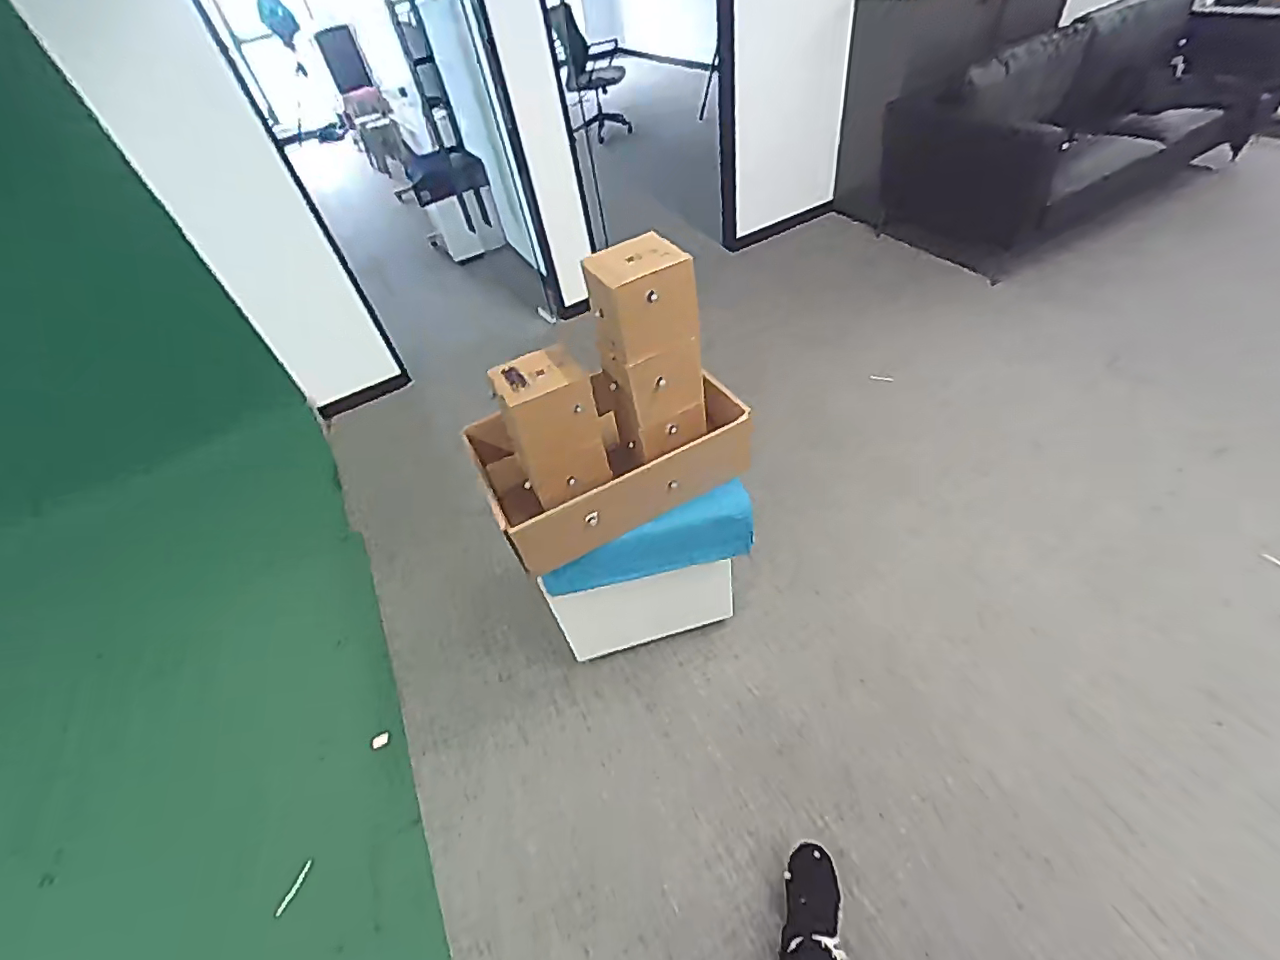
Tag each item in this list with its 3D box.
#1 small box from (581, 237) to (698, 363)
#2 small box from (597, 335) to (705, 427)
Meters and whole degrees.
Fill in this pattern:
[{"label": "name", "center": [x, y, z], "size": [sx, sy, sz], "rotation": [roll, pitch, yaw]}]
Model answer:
[{"label": "small box", "center": [0.004, -0.368, 1.115], "size": [0.179, 0.176, 0.168], "rotation": [-26, 47, -11]}, {"label": "small box", "center": [0.030, -0.249, 1.227], "size": [0.179, 0.176, 0.168], "rotation": [-28, 47, -12]}]
